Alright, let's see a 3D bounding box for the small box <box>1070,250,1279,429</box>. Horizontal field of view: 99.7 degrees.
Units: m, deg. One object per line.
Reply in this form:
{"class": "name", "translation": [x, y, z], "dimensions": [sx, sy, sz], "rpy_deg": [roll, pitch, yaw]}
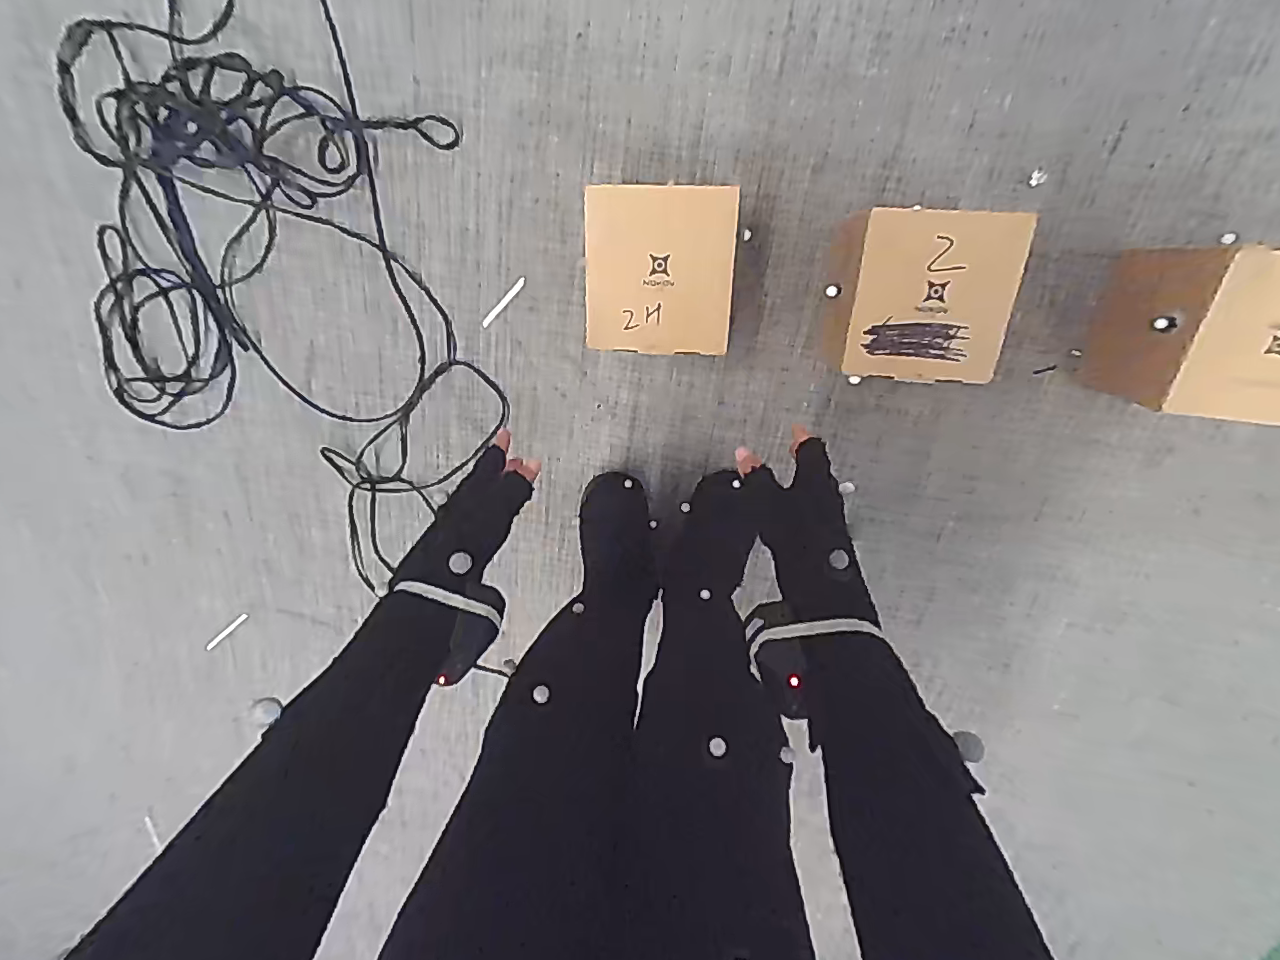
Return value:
{"class": "small box", "translation": [0.668, -0.173, 0.644], "dimensions": [0.168, 0.176, 0.179], "rpy_deg": [7, 114, 5]}

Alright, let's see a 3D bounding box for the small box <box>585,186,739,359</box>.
{"class": "small box", "translation": [0.027, -0.254, 0.672], "dimensions": [0.168, 0.176, 0.179], "rpy_deg": [4, 112, 5]}
